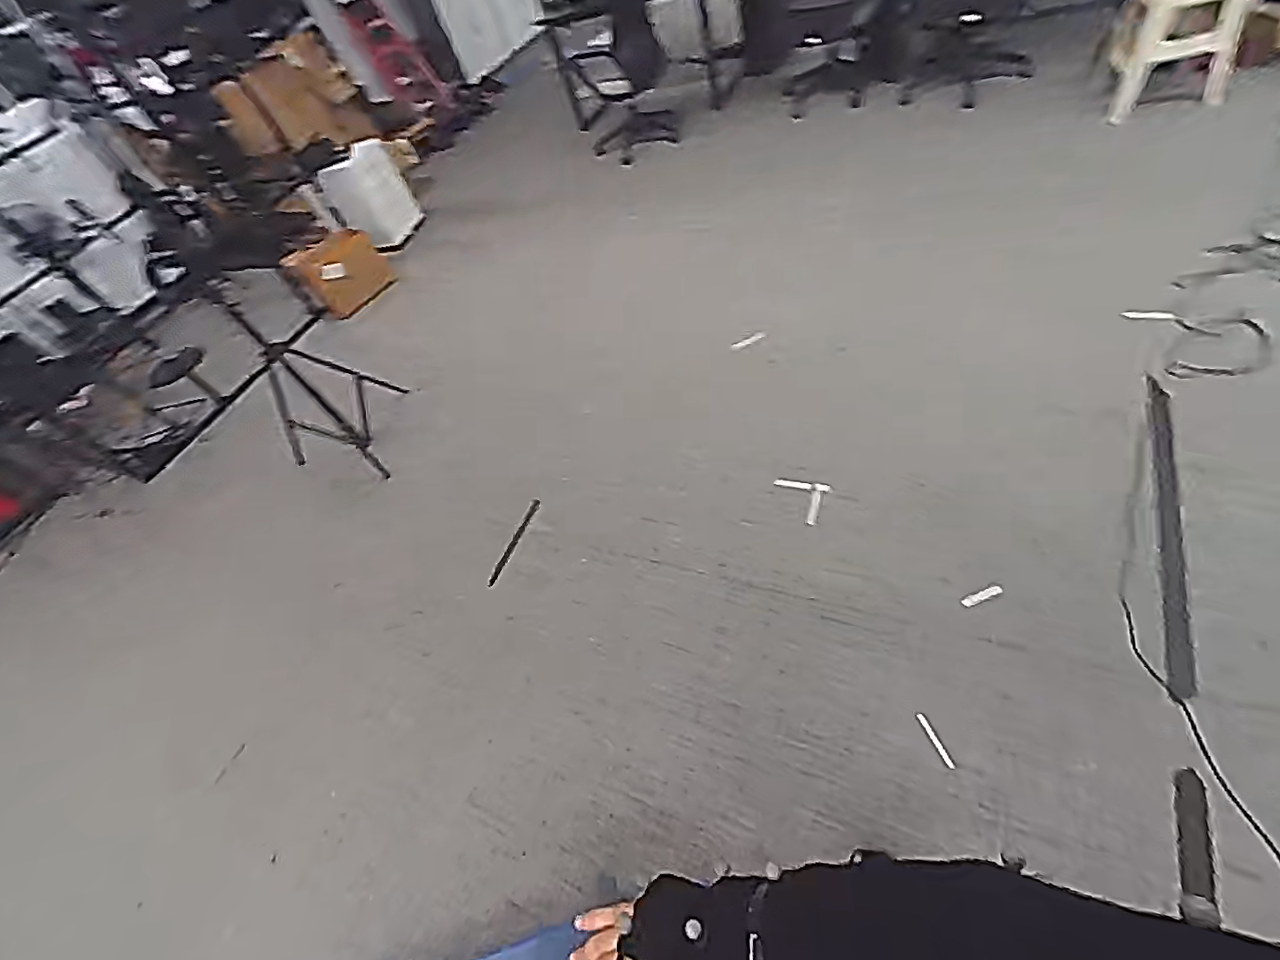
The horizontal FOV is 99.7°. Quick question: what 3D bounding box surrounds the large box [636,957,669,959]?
[{"bbox_3d":[-0.074,0.995,0.775,0.320,0.320,0.408,-22,48,2],"label":"large box"}]
